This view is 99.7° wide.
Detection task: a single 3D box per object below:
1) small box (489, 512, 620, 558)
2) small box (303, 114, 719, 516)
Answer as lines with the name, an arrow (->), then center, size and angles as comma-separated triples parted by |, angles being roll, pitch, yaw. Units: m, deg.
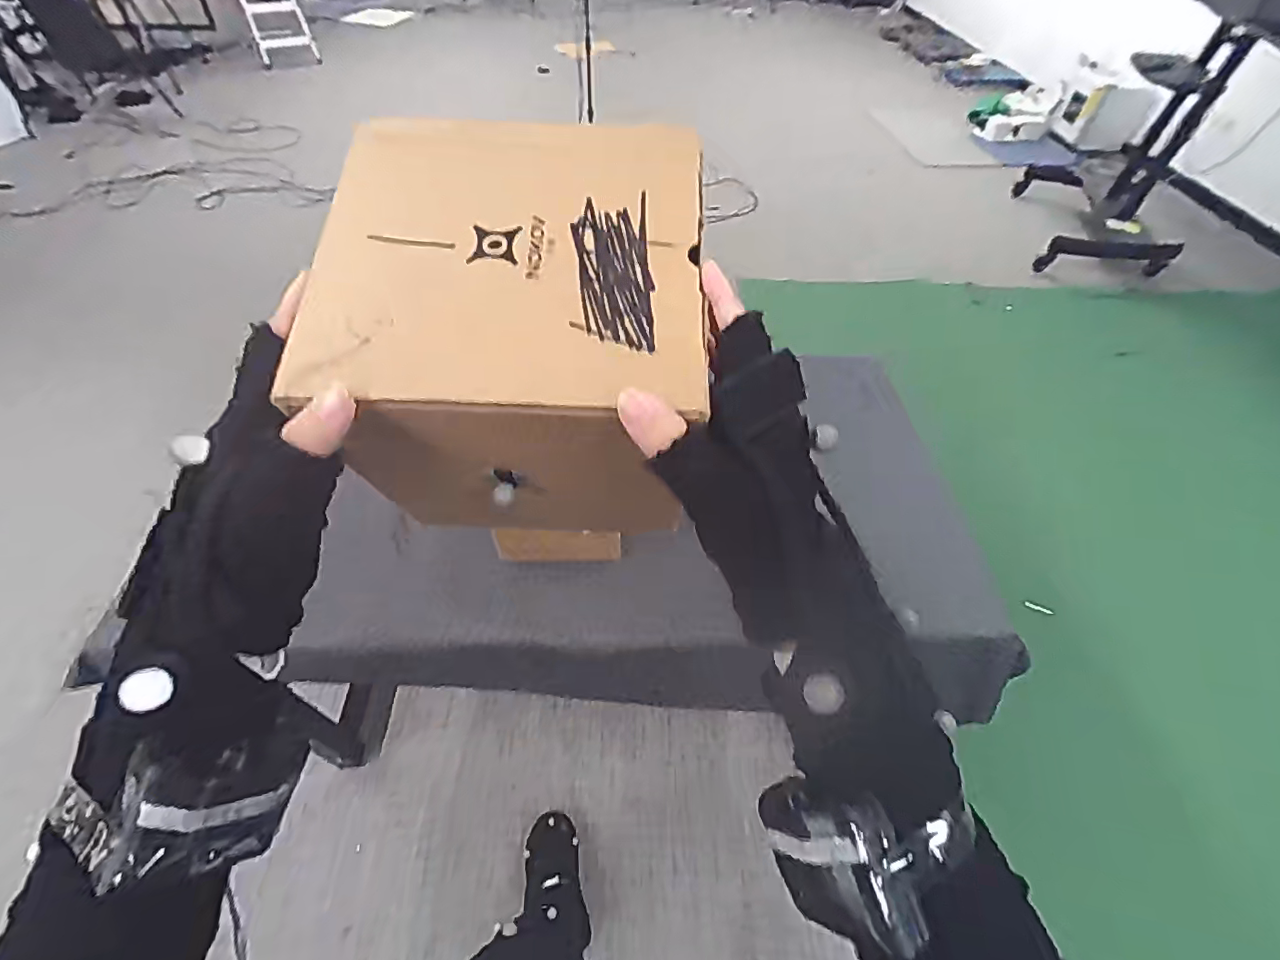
small box -> -0.116, 0.001, 0.784 | 0.179, 0.176, 0.168 | -2, 49, -2
small box -> -0.059, -0.080, 0.329 | 0.179, 0.176, 0.168 | -1, 69, -4
